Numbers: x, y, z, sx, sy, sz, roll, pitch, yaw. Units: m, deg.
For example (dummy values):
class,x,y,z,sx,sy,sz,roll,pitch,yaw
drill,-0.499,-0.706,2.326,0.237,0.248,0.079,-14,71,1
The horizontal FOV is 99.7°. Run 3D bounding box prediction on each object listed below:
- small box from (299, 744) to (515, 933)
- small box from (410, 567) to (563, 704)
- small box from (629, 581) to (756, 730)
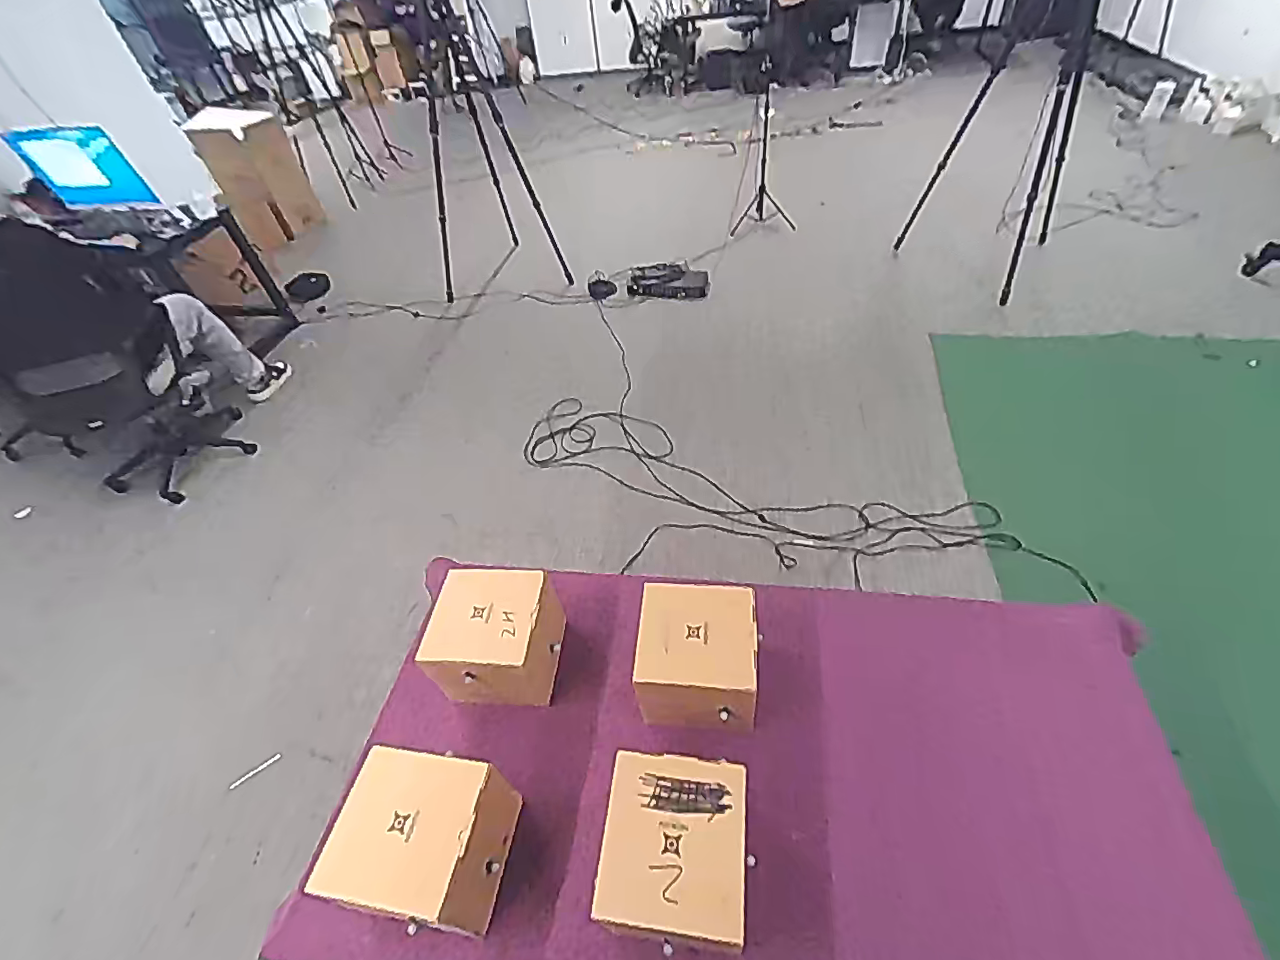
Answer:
class,x,y,z,sx,sy,sz,roll,pitch,yaw
small box,-0.289,0.475,0.717,0.179,0.176,0.168,3,46,10
small box,-0.244,0.264,0.910,0.179,0.176,0.168,0,48,8
small box,0.089,0.278,0.851,0.179,0.176,0.168,1,47,10
